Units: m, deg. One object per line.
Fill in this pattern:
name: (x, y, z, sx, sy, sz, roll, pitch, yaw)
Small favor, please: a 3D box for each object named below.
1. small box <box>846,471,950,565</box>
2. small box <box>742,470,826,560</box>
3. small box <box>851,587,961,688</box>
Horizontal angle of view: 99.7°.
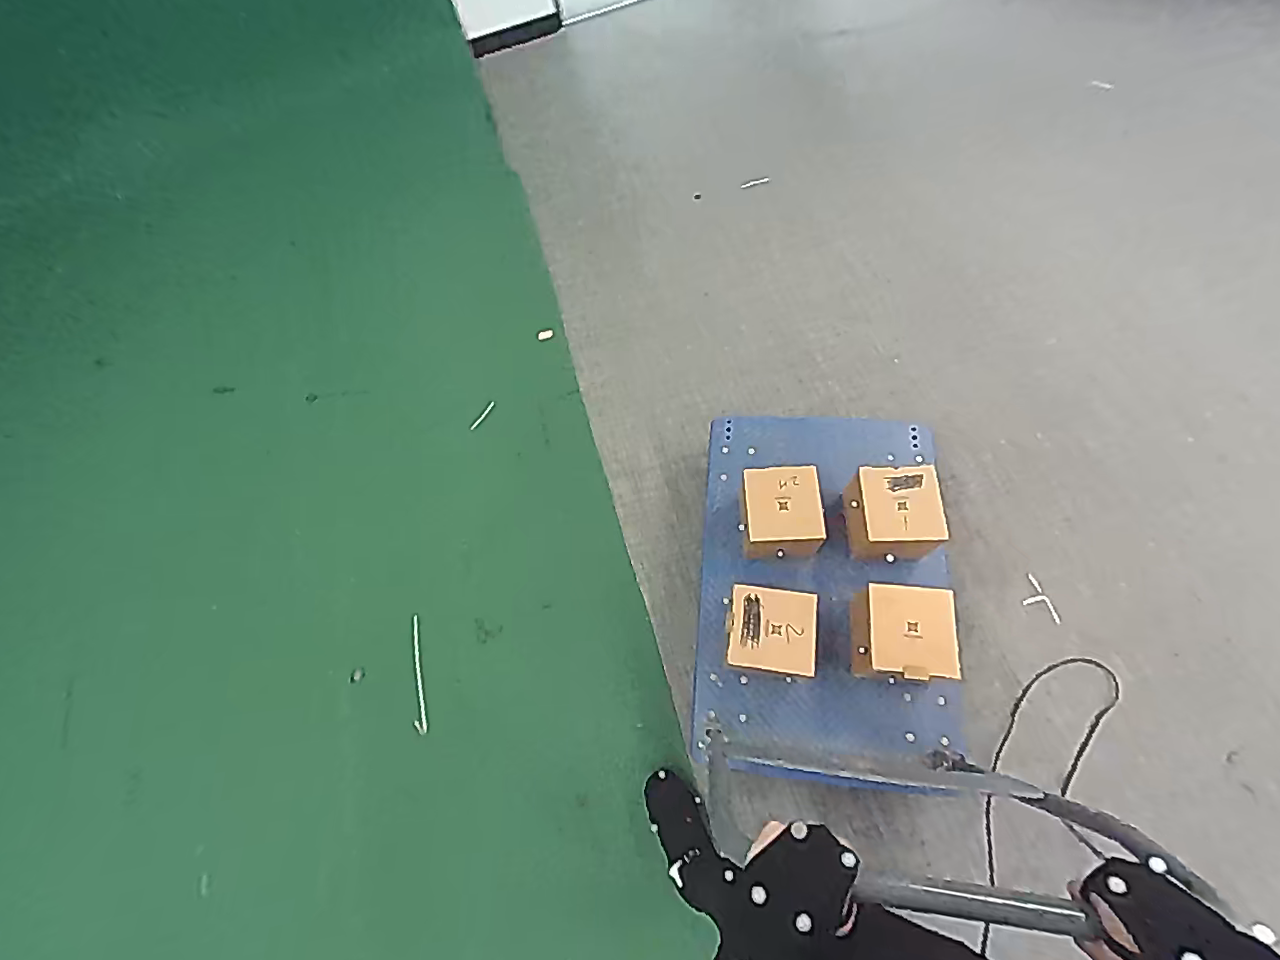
small box: (0.587, 0.091, 1.254, 0.168, 0.176, 0.179, -1, 68, 7)
small box: (0.335, 0.090, 1.284, 0.168, 0.176, 0.179, -2, 67, 5)
small box: (0.557, 0.340, 1.155, 0.168, 0.176, 0.179, 4, 68, 8)
